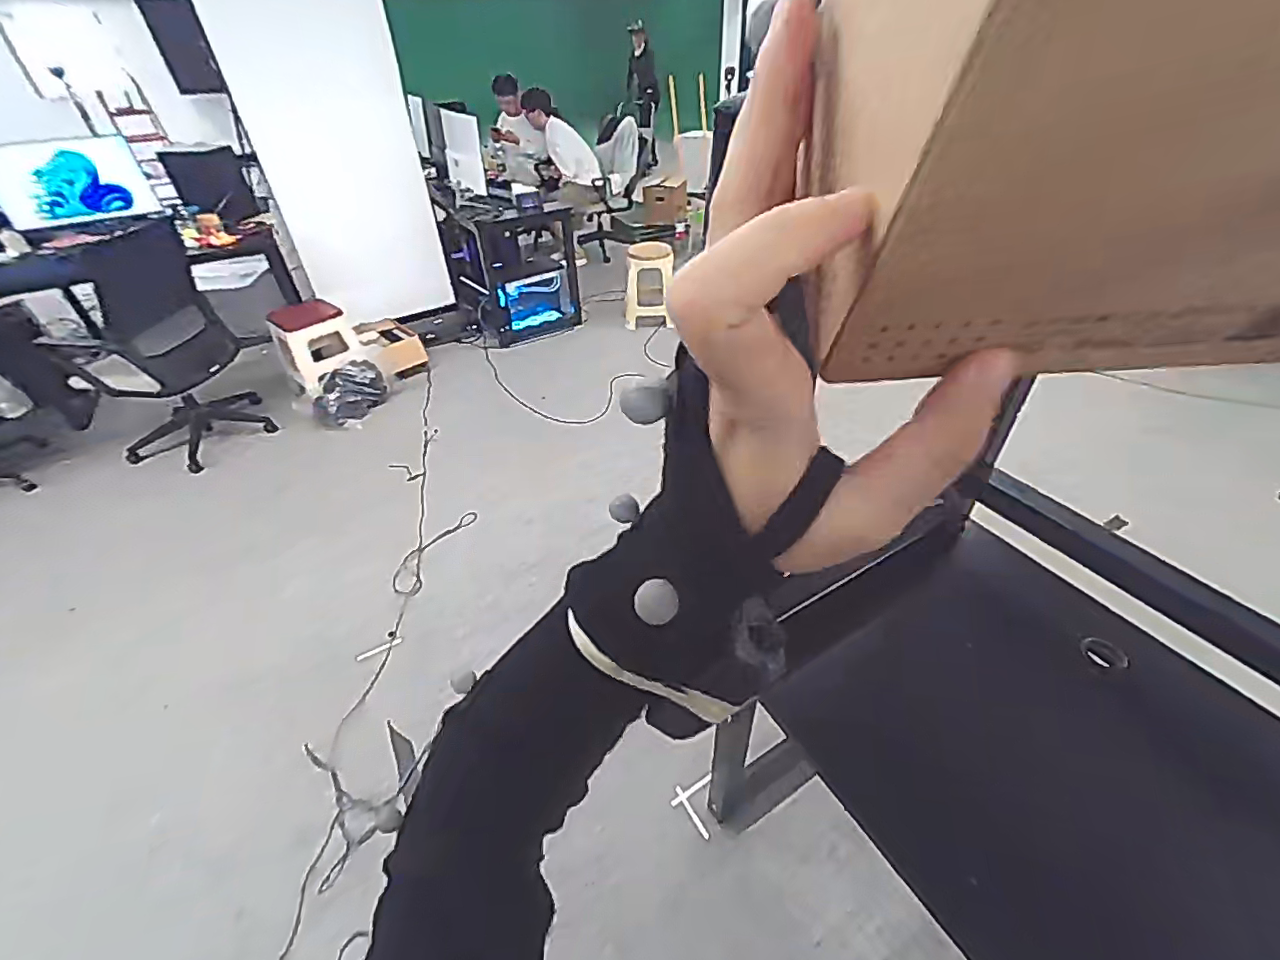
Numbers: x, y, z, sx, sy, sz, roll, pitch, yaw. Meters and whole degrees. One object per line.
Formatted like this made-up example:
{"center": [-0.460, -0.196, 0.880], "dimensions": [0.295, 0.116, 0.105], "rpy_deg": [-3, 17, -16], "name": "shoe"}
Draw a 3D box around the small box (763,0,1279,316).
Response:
{"center": [0.123, -0.147, 0.101], "dimensions": [0.168, 0.176, 0.179], "rpy_deg": [-2, 69, 2], "name": "small box"}
